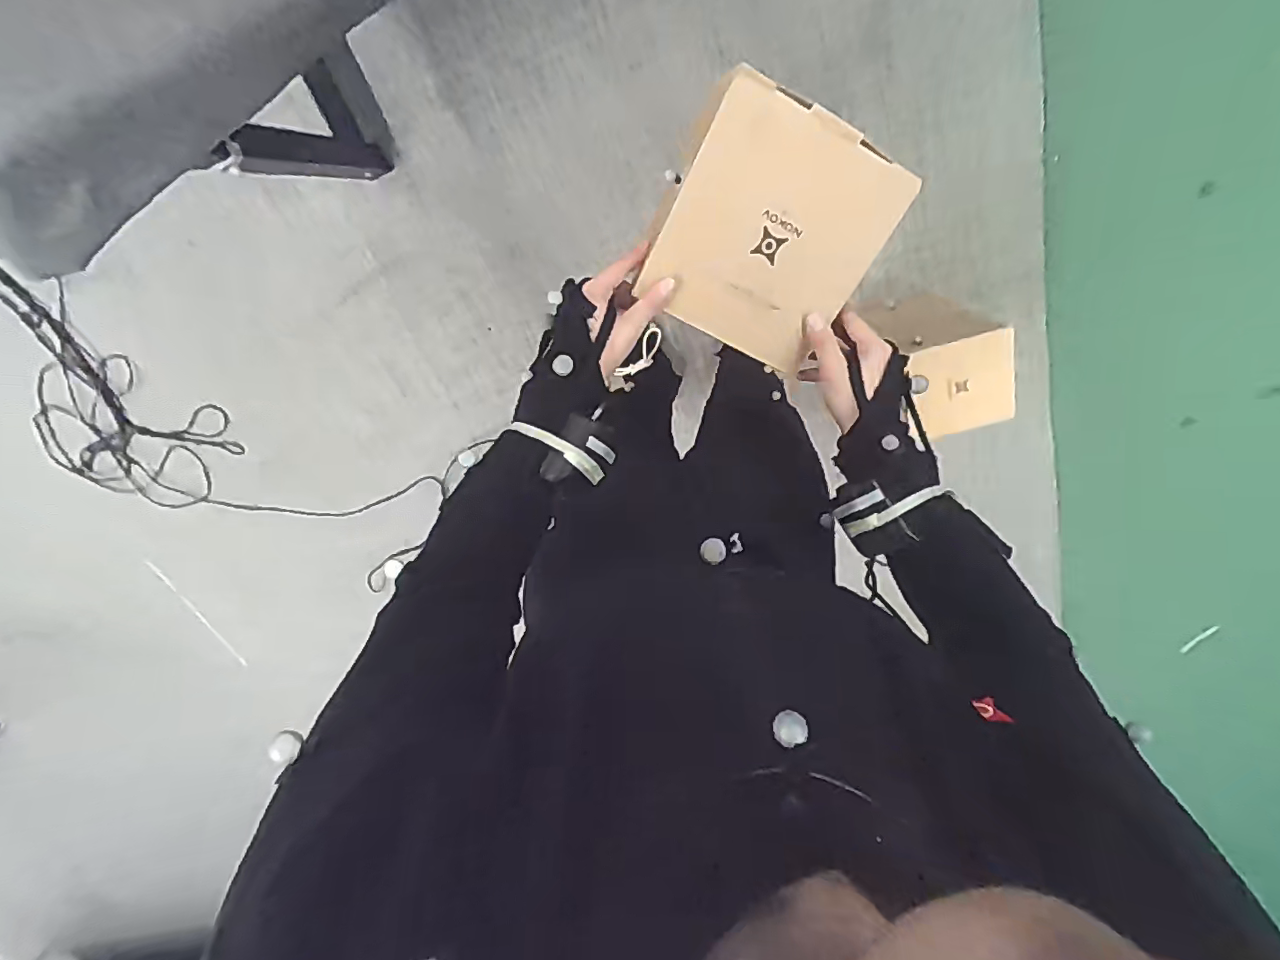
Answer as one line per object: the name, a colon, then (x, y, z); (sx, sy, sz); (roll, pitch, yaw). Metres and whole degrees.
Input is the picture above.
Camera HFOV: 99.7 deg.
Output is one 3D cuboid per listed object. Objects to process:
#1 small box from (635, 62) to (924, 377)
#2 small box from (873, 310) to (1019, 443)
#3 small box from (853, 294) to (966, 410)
small box: (0.102, -0.227, 0.489); (0.168, 0.176, 0.179); (22, 118, -12)
small box: (0.542, -0.191, 0.970); (0.179, 0.176, 0.168); (-14, 115, 12)
small box: (0.552, -0.267, 1.115); (0.179, 0.176, 0.168); (-15, 115, 14)
